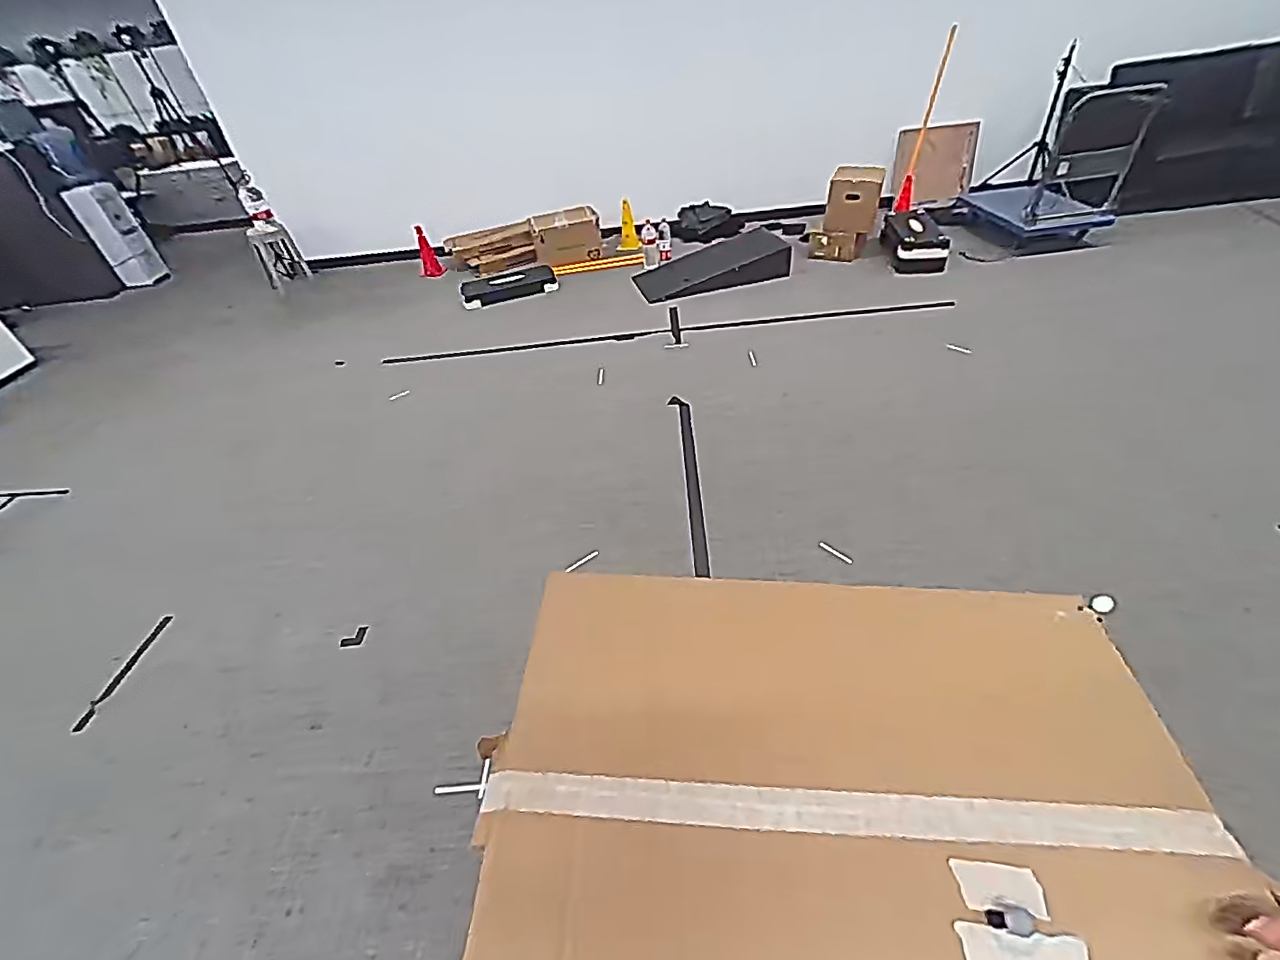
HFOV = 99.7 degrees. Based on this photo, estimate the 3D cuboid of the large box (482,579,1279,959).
[{"bbox_3d":[0.120,0.298,0.419,0.408,0.320,0.320,3,45,2],"label":"large box"}]
